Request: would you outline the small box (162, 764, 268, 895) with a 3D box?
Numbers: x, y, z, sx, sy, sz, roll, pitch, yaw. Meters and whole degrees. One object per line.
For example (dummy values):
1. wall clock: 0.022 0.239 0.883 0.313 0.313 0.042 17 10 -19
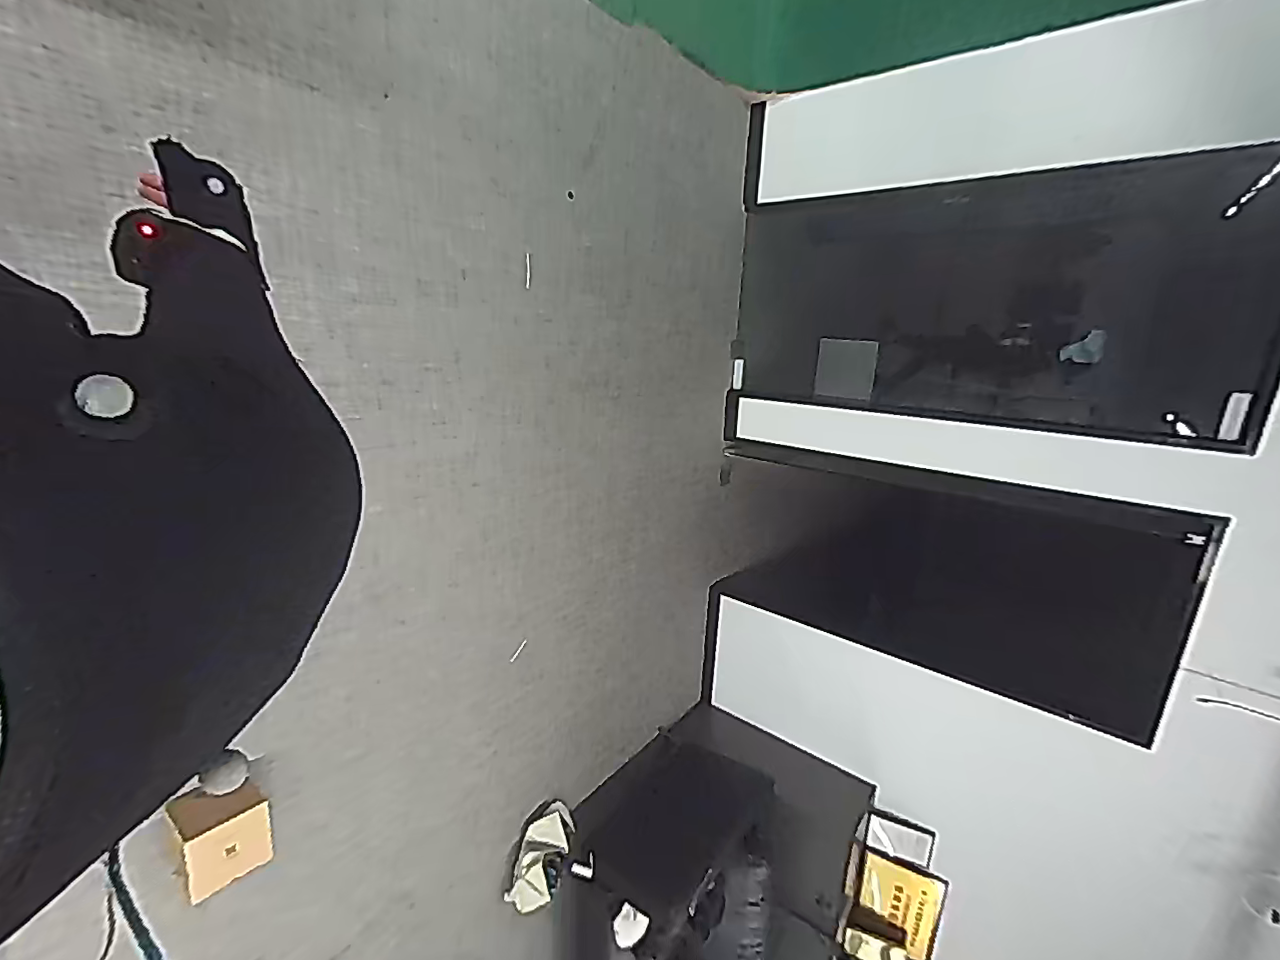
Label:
1. small box: -1.047 0.850 1.334 0.168 0.176 0.179 -12 111 -52
